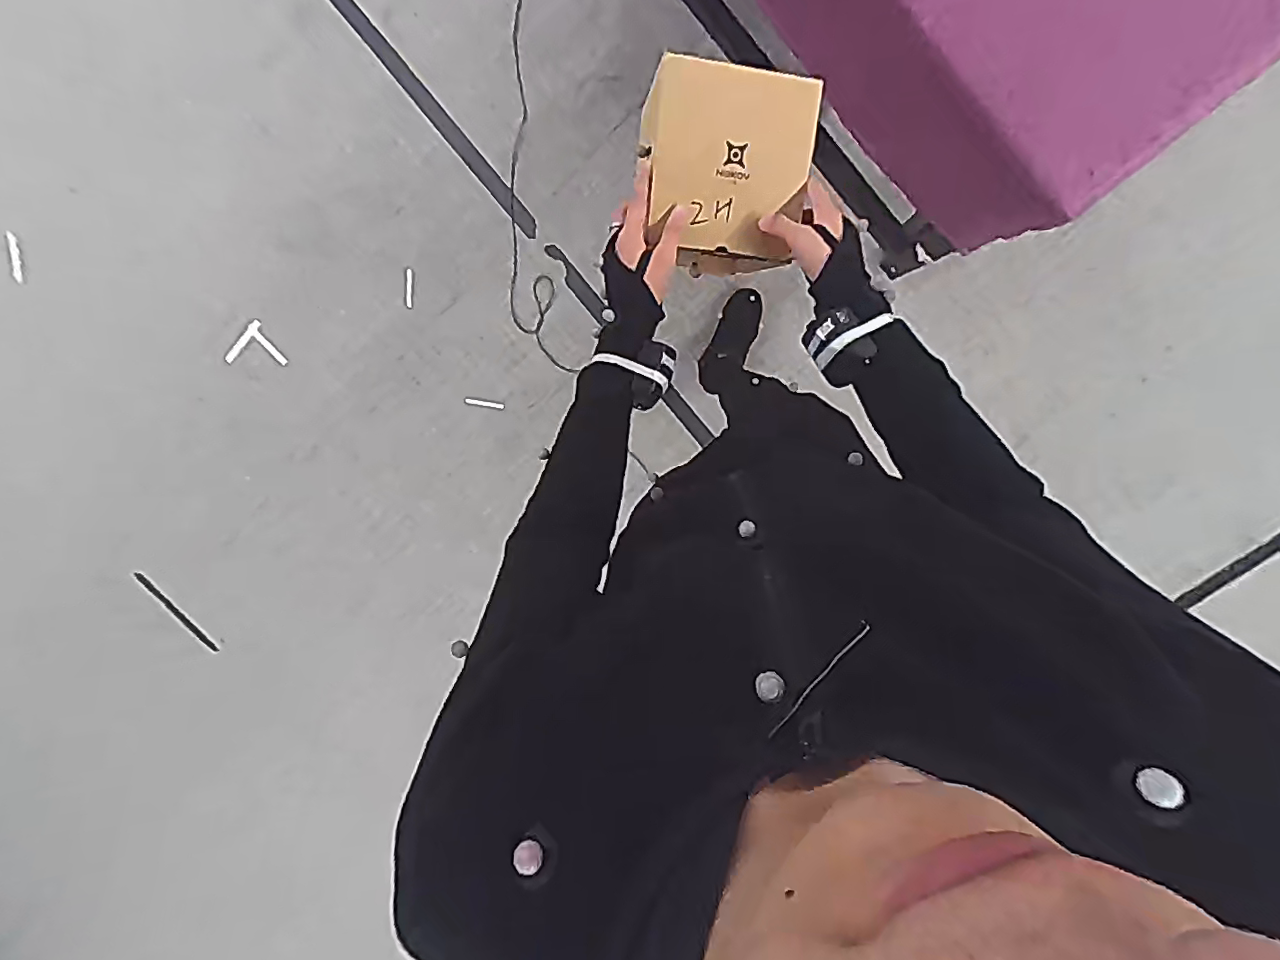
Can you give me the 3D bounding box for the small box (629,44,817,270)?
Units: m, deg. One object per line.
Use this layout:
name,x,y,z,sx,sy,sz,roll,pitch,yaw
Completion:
small box,0.081,-0.355,0.631,0.168,0.176,0.179,4,105,-8
